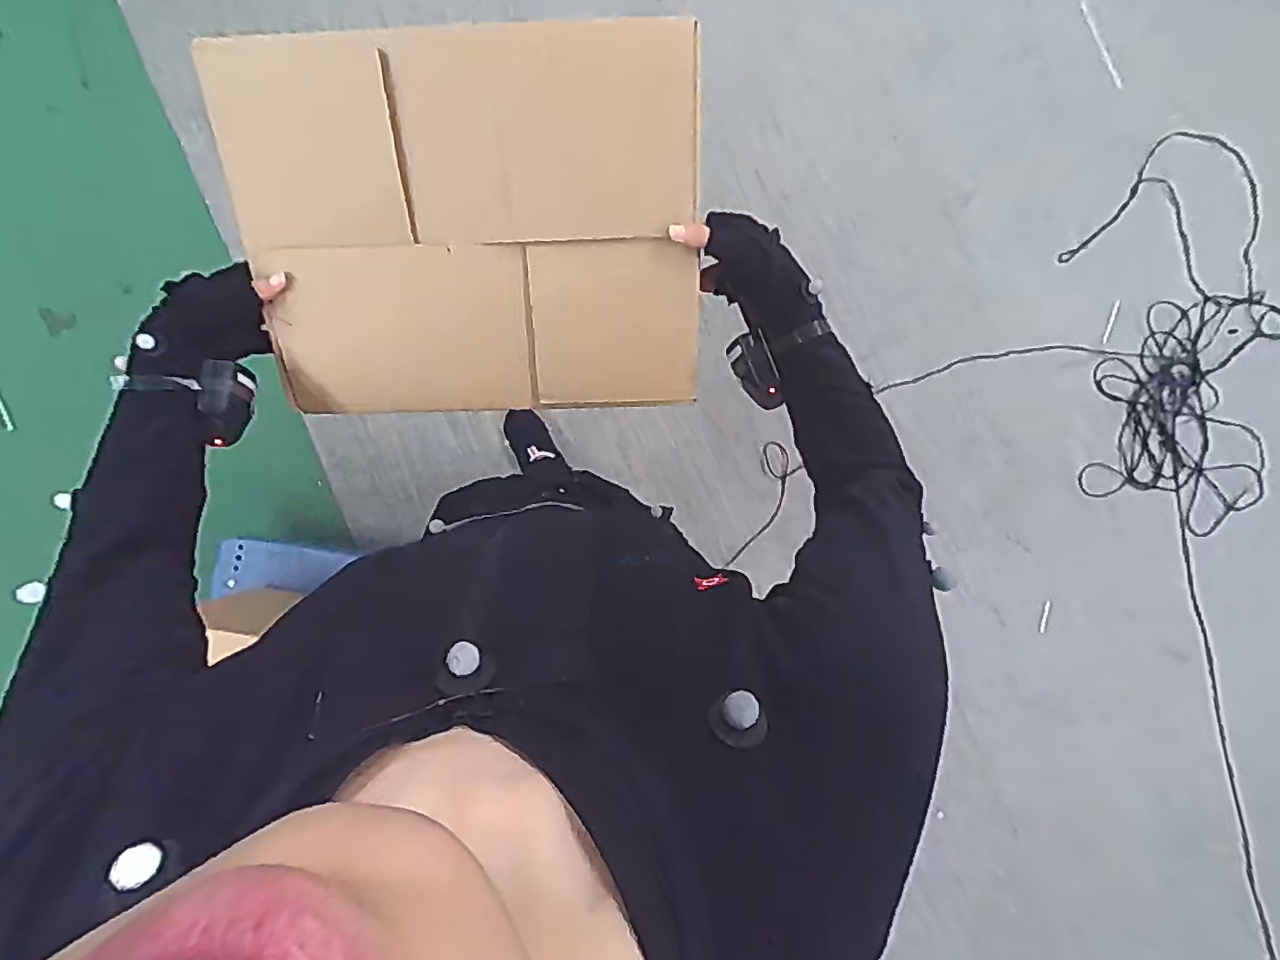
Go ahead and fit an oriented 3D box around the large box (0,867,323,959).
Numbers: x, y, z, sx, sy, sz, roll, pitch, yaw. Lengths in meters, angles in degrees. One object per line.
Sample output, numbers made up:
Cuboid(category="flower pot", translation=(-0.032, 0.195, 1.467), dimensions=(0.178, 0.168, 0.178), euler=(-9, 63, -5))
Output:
Cuboid(category="large box", translation=(-0.721, 0.797, 0.737), dimensions=(0.408, 0.320, 0.320), euler=(8, 93, -3))
